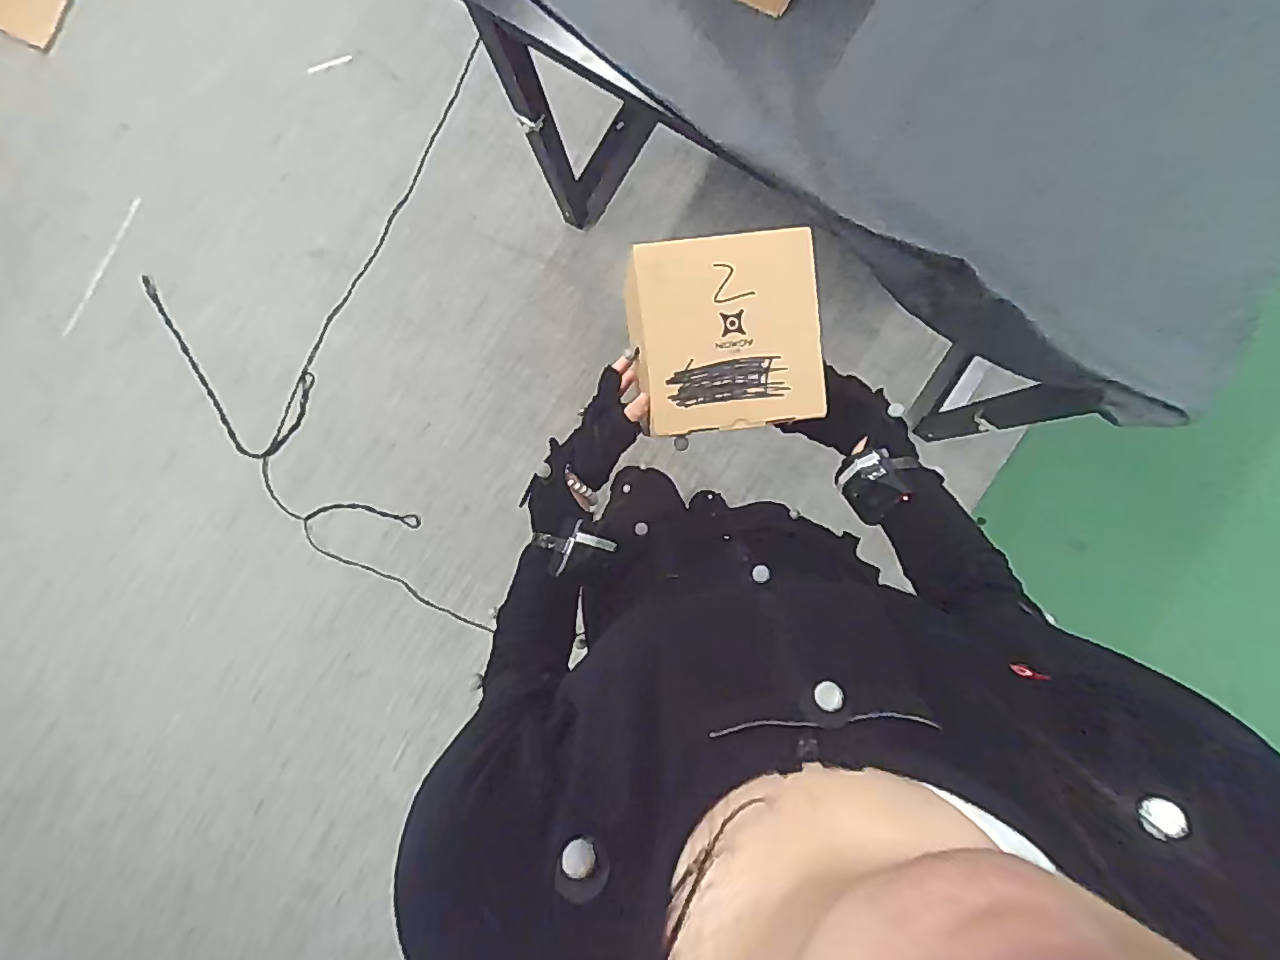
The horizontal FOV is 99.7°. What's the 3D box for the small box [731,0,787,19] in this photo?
[{"bbox_3d":[0.160,-0.765,0.690,0.168,0.176,0.179,30,92,4],"label":"small box"}]
